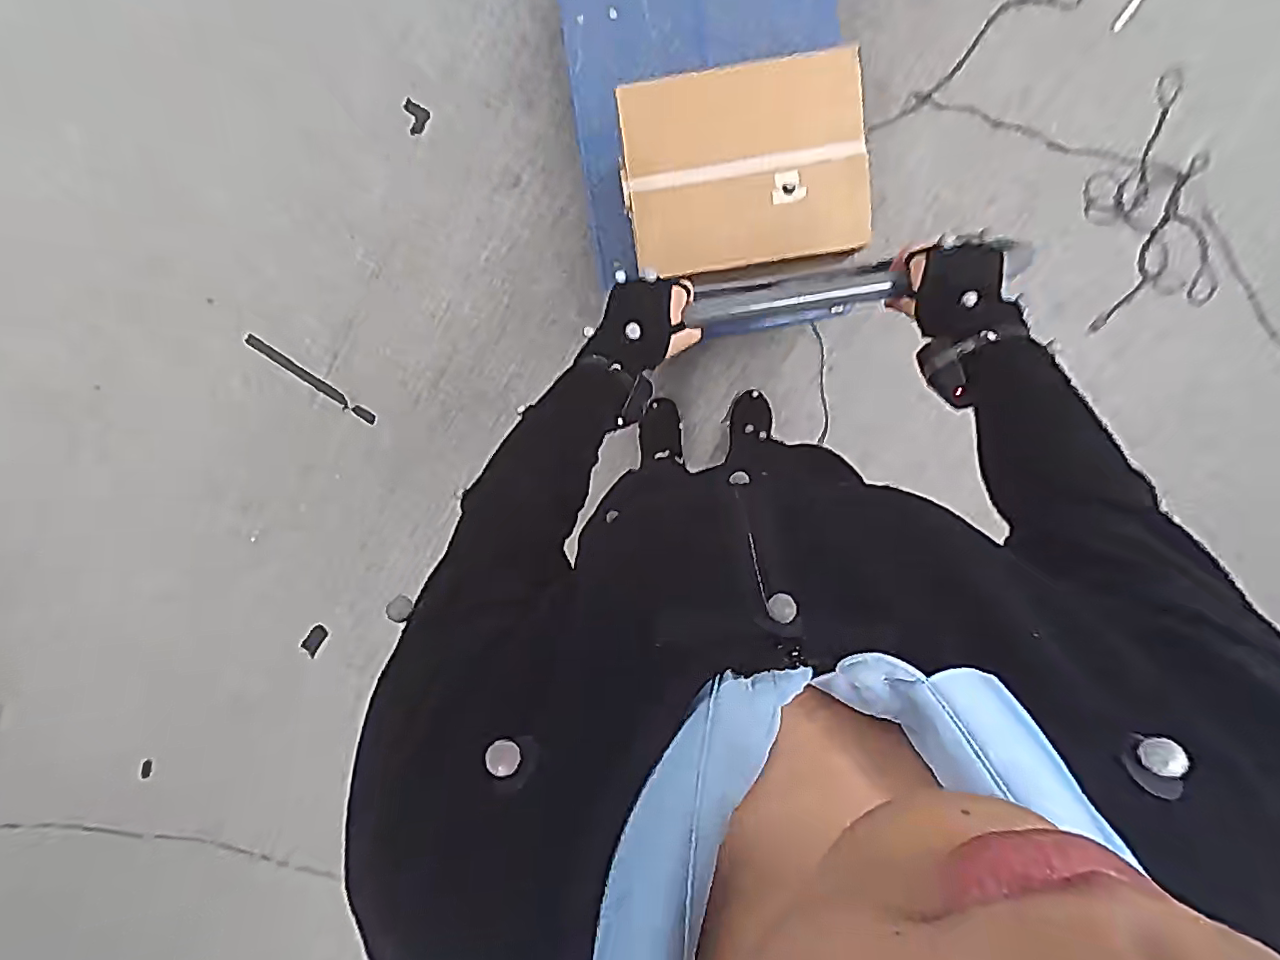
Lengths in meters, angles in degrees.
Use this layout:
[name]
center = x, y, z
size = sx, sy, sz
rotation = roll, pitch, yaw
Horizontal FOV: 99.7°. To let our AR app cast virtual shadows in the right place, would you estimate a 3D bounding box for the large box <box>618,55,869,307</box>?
[large box]
center = 0.182, -0.550, 1.071
size = 0.408, 0.320, 0.320
rotation = -8, 101, 2
